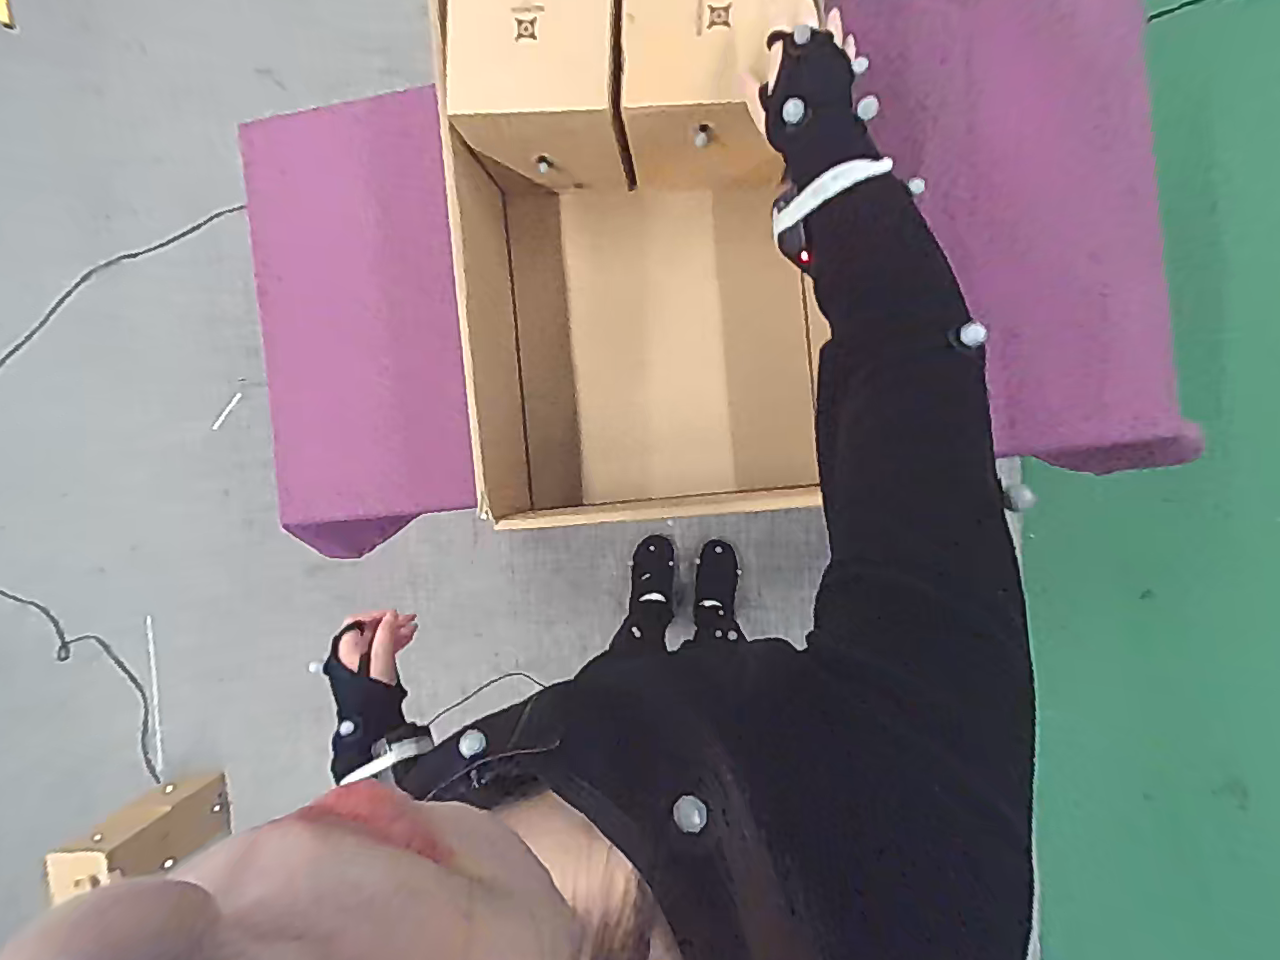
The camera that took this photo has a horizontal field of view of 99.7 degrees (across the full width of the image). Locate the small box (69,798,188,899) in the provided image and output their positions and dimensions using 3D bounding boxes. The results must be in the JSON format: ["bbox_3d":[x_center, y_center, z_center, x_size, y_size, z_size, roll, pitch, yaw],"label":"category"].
[{"bbox_3d":[-1.378,0.995,1.471,0.179,0.176,0.168,-6,90,9],"label":"small box"}]
